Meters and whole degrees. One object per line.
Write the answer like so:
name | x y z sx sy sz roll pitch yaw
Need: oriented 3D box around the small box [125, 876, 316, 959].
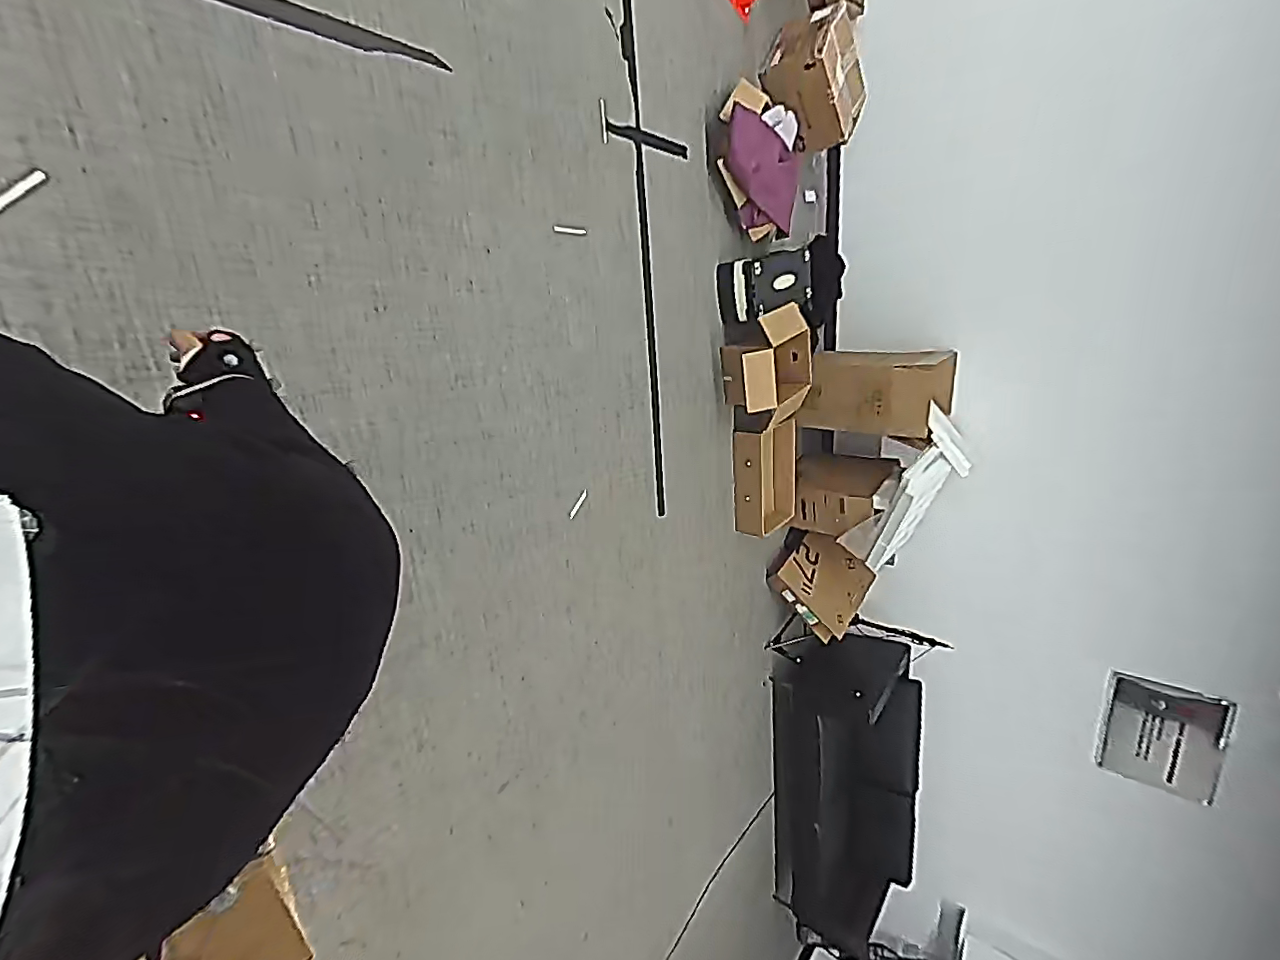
small box | -0.470 0.602 0.599 0.179 0.176 0.168 -20 111 -46
